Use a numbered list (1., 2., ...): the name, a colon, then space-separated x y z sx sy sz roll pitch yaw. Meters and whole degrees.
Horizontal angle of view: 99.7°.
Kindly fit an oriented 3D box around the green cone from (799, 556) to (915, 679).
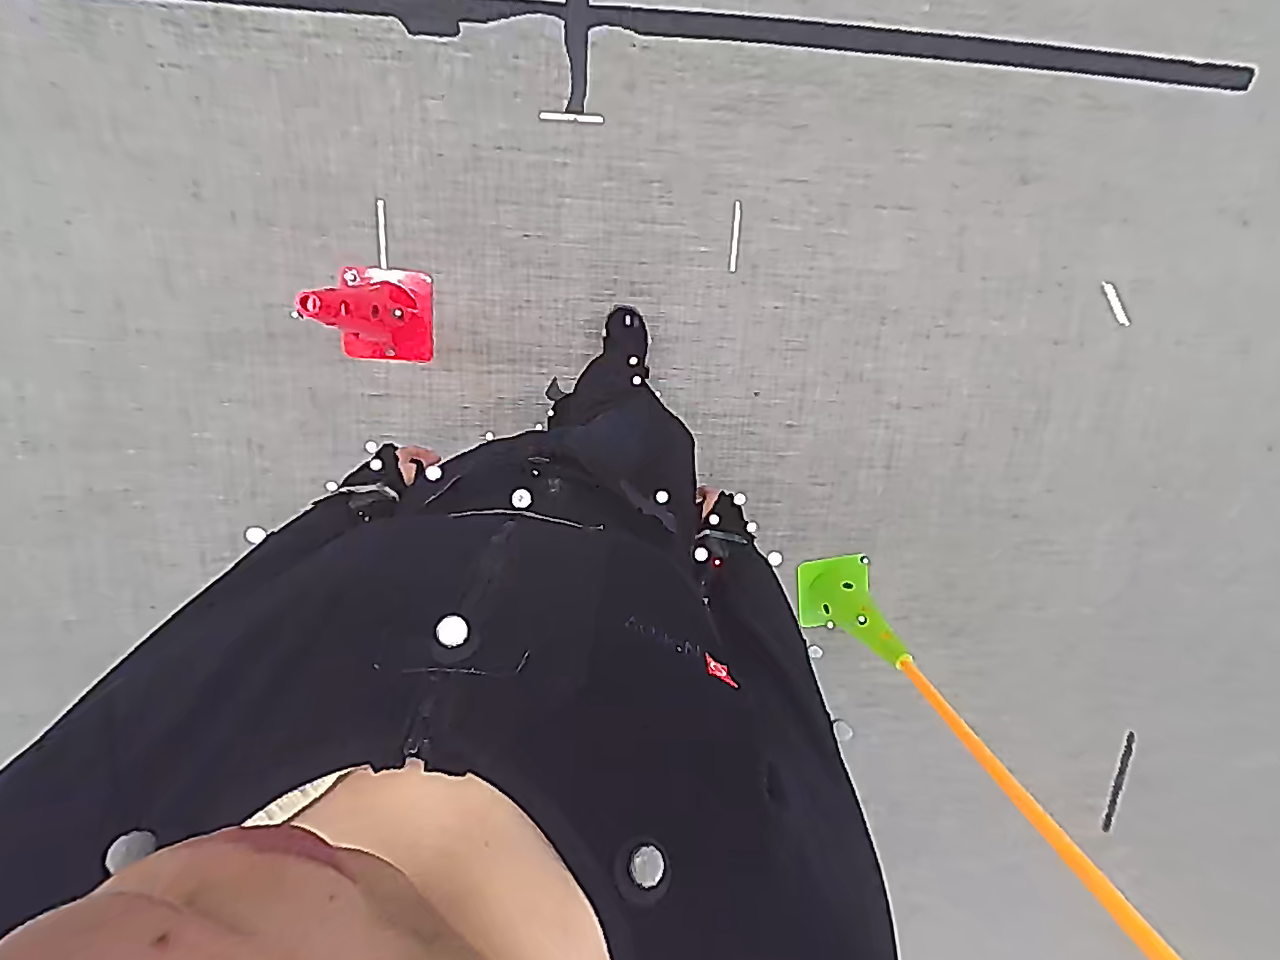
1. green cone: 0.553 0.359 1.331 0.200 0.368 0.202 -8 106 -3
